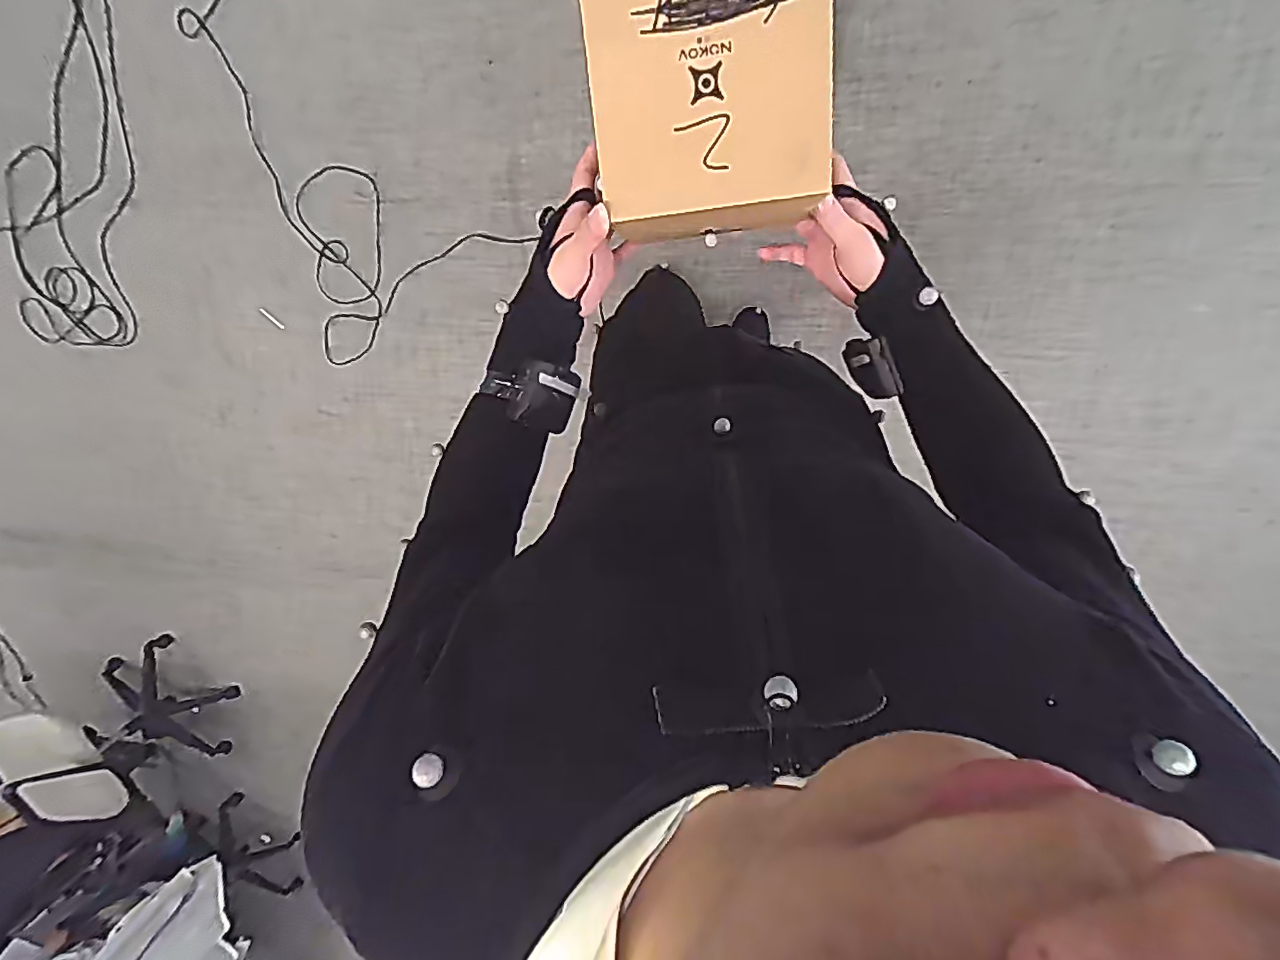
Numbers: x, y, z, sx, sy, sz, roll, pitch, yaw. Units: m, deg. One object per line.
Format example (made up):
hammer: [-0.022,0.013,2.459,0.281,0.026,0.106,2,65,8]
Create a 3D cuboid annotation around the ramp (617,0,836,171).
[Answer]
ramp: [0.180,-1.228,1.124,0.509,0.206,0.991,1,110,10]
